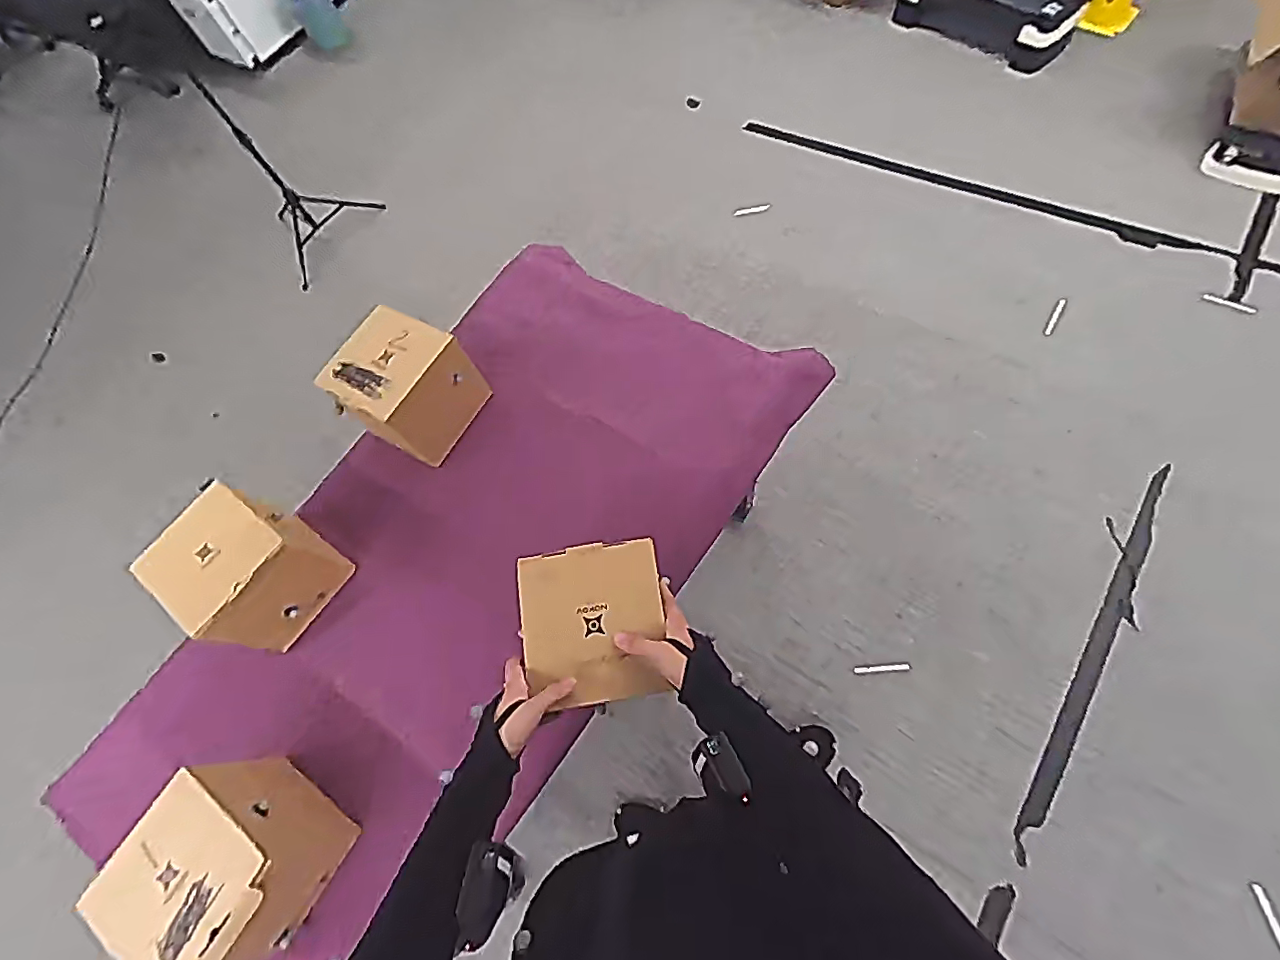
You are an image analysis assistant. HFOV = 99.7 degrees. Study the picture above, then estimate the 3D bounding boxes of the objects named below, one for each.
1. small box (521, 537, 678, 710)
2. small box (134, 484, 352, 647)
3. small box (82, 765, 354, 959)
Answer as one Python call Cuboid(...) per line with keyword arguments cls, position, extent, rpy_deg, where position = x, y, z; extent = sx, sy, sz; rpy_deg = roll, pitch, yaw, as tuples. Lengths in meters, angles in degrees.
Cuboid(cls="small box", position=(-0.048, 0.187, 0.692), extent=(0.168, 0.176, 0.179), rpy_deg=(-9, 70, -1))
Cuboid(cls="small box", position=(-0.600, 0.141, 0.839), extent=(0.179, 0.176, 0.168), rpy_deg=(31, 74, 19))
Cuboid(cls="small box", position=(-0.510, 0.483, 0.680), extent=(0.179, 0.176, 0.168), rpy_deg=(26, 73, 20))
